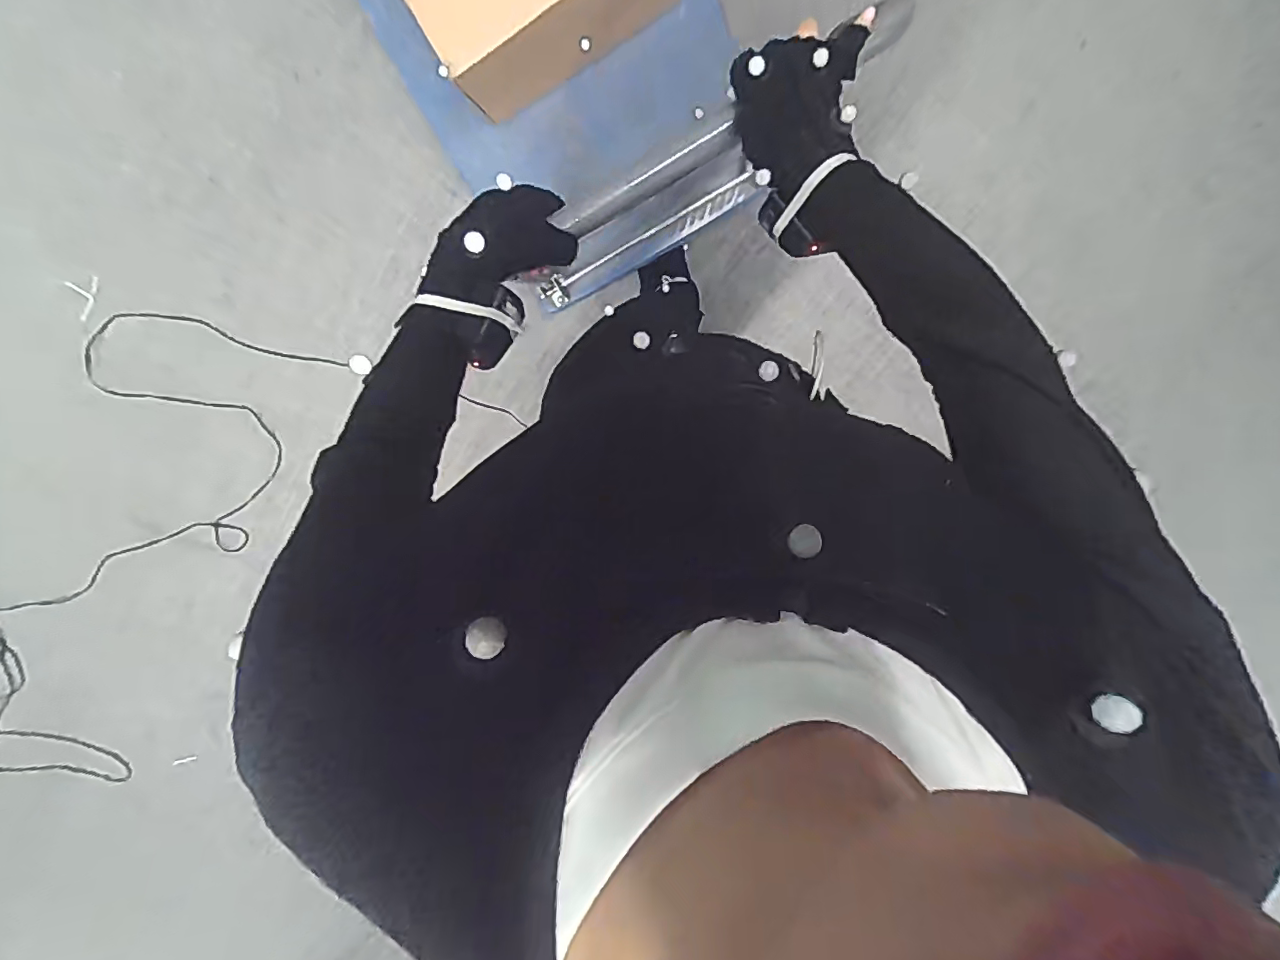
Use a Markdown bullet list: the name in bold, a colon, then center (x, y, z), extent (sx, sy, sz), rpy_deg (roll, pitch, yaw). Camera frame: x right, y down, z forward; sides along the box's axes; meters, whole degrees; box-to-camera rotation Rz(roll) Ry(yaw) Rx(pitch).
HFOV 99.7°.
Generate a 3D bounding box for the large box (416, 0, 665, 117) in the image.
- **large box**: center (-0.166, -0.858, 0.831), extent (0.408, 0.320, 0.320), rpy_deg (-29, 110, 11)
